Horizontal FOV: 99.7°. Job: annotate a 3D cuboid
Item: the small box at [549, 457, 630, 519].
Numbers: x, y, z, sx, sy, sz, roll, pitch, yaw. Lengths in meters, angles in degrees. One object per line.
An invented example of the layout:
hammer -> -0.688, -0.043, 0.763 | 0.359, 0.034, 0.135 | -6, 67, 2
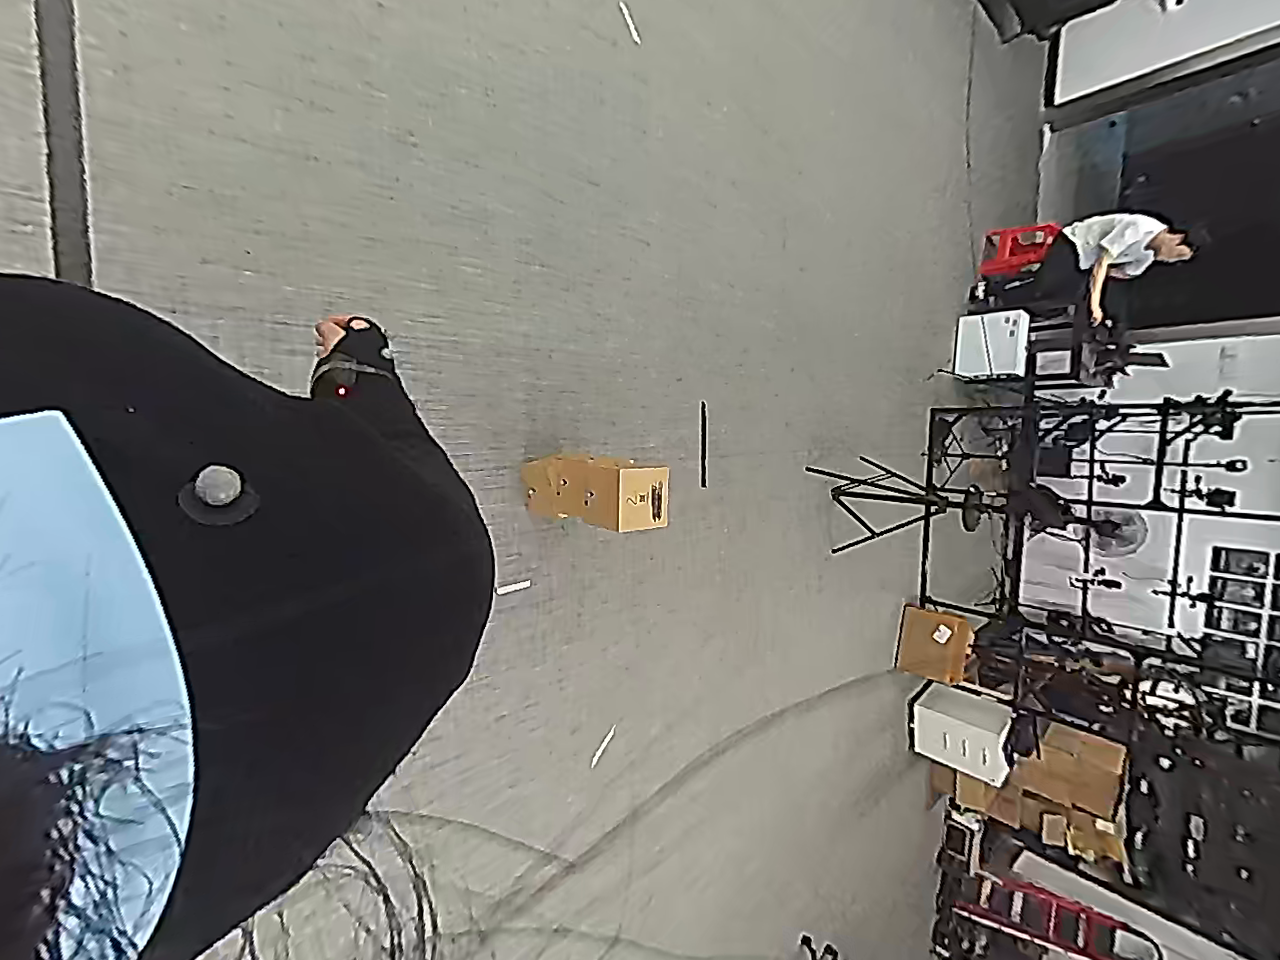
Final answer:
small box -> -0.151, 0.017, 1.615 | 0.179, 0.176, 0.168 | -4, 97, -42

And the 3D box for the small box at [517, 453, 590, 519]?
small box -> -0.266, 0.012, 1.731 | 0.179, 0.176, 0.168 | -20, 107, -40
